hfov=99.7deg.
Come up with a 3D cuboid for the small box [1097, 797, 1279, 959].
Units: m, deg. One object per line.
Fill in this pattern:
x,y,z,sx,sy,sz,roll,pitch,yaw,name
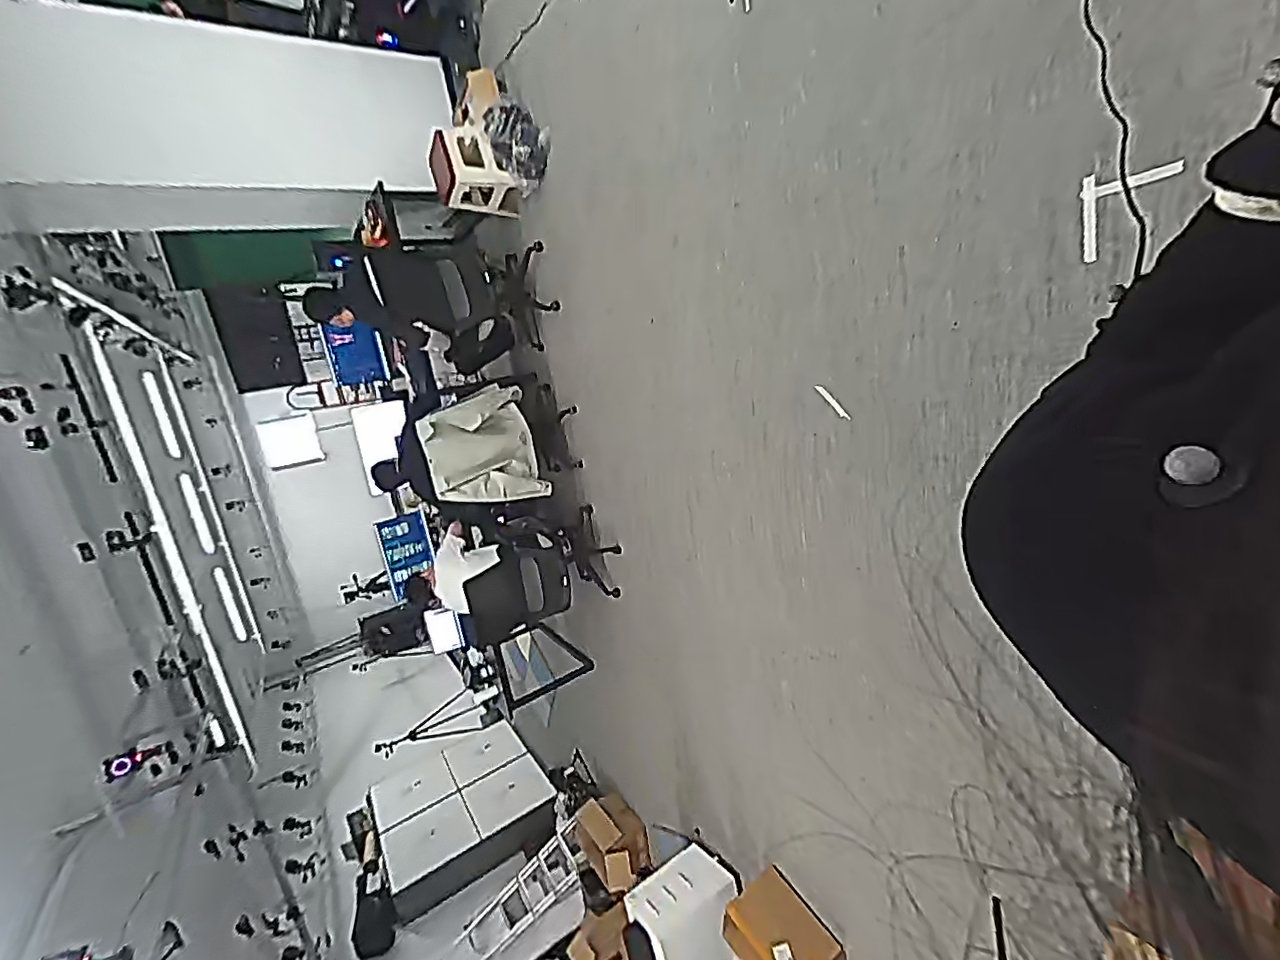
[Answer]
0.466,0.387,0.400,0.168,0.176,0.179,17,119,54,small box
